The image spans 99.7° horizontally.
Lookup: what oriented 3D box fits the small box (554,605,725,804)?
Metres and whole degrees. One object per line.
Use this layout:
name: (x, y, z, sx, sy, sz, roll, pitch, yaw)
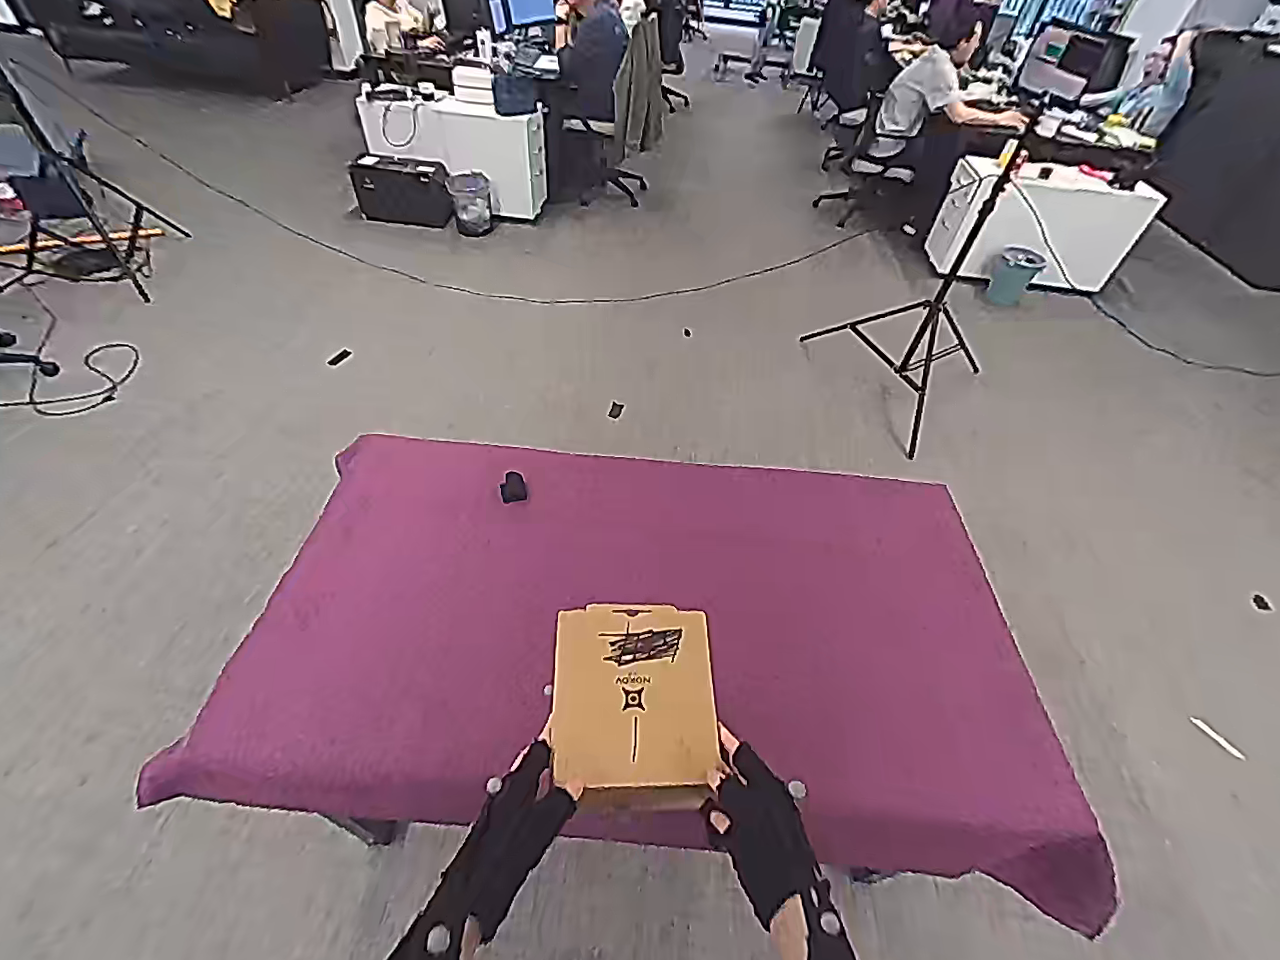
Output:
small box: (-0.007, 0.260, 0.622, 0.168, 0.176, 0.179, 1, 53, -4)
